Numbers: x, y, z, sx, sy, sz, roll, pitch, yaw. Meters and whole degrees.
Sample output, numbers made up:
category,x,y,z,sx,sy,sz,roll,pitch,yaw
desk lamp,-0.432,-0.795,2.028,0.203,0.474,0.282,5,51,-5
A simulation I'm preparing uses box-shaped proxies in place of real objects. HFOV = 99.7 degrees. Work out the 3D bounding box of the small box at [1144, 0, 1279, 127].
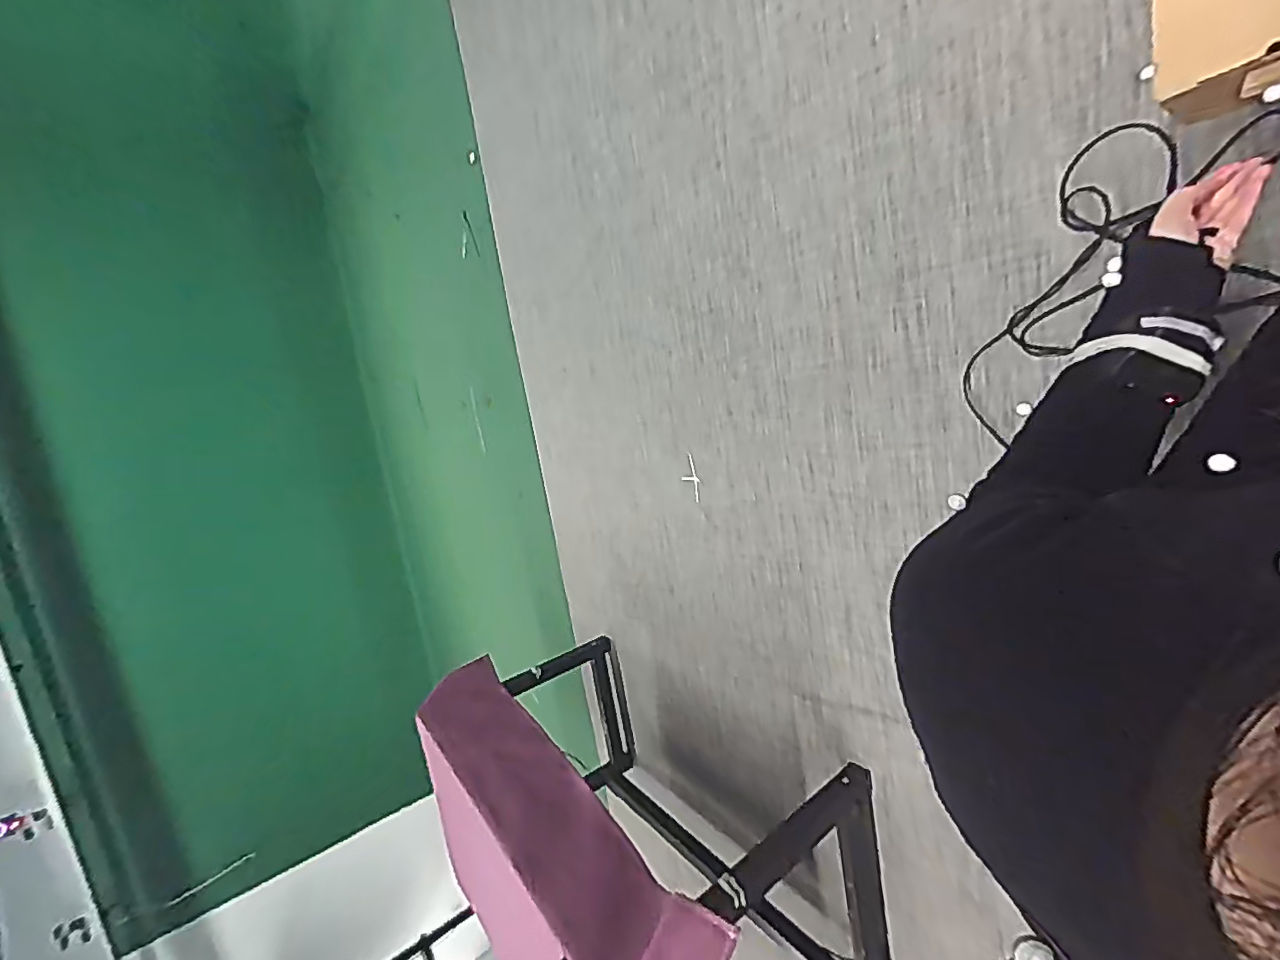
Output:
category,x,y,z,sx,sy,sz,roll,pitch,yaw
small box,0.623,-0.483,0.528,0.168,0.176,0.179,3,106,55
